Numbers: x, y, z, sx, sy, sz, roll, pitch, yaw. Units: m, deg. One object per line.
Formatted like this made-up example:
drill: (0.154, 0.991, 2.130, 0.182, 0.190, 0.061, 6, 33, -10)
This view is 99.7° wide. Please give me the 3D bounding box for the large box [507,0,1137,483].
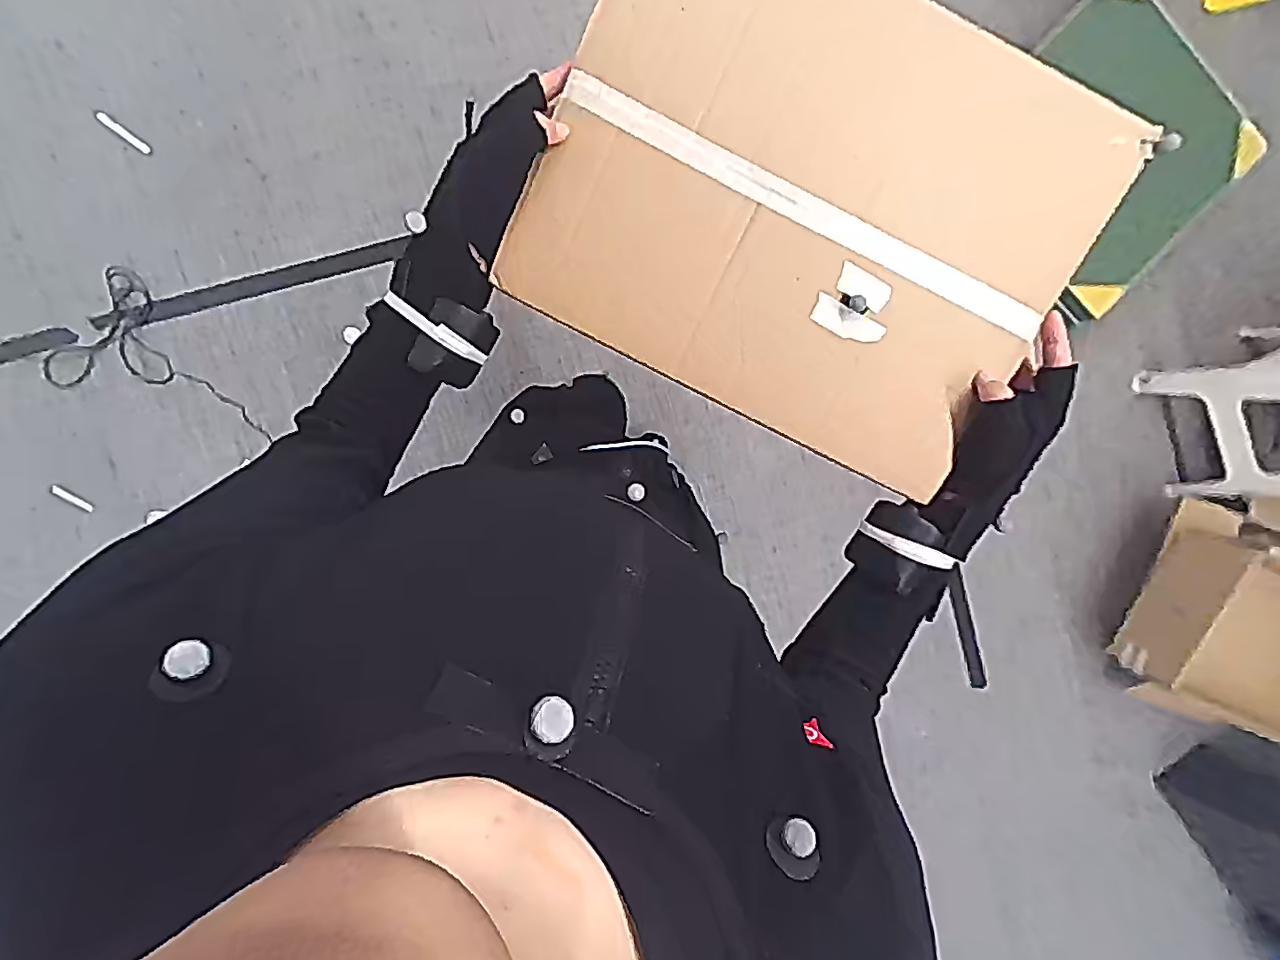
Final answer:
large box: (0.135, -0.243, 0.568, 0.408, 0.320, 0.320, 26, 103, -4)
